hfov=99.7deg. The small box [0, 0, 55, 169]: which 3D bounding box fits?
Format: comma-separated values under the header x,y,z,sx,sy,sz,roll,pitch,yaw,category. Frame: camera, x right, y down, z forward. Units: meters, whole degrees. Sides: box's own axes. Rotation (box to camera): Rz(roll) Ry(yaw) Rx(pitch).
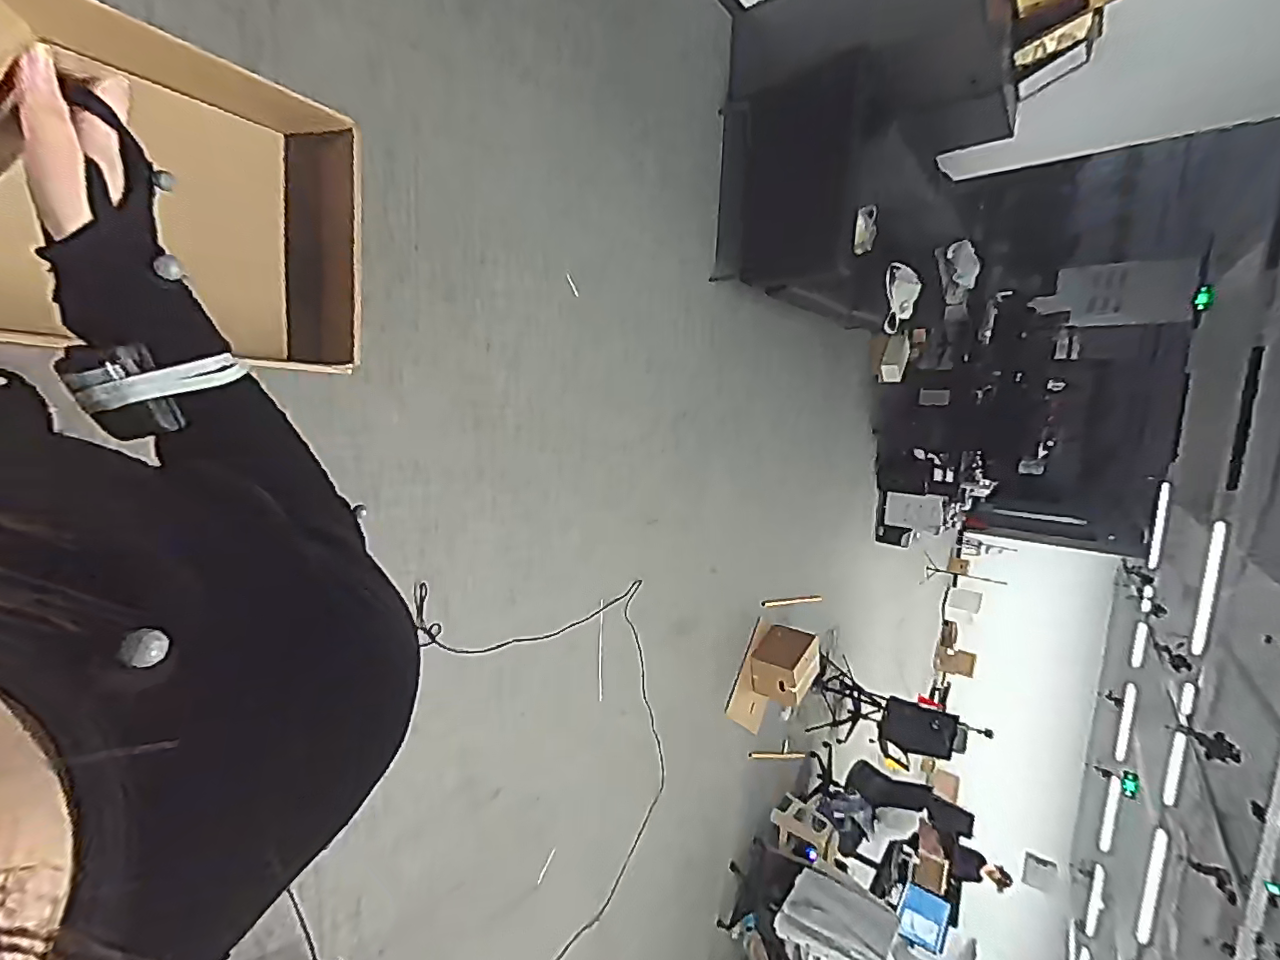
x,y,z,sx,sy,sz,roll,pitch,yaw,category
-0.445,-0.224,0.259,0.168,0.176,0.179,45,71,-40,small box
